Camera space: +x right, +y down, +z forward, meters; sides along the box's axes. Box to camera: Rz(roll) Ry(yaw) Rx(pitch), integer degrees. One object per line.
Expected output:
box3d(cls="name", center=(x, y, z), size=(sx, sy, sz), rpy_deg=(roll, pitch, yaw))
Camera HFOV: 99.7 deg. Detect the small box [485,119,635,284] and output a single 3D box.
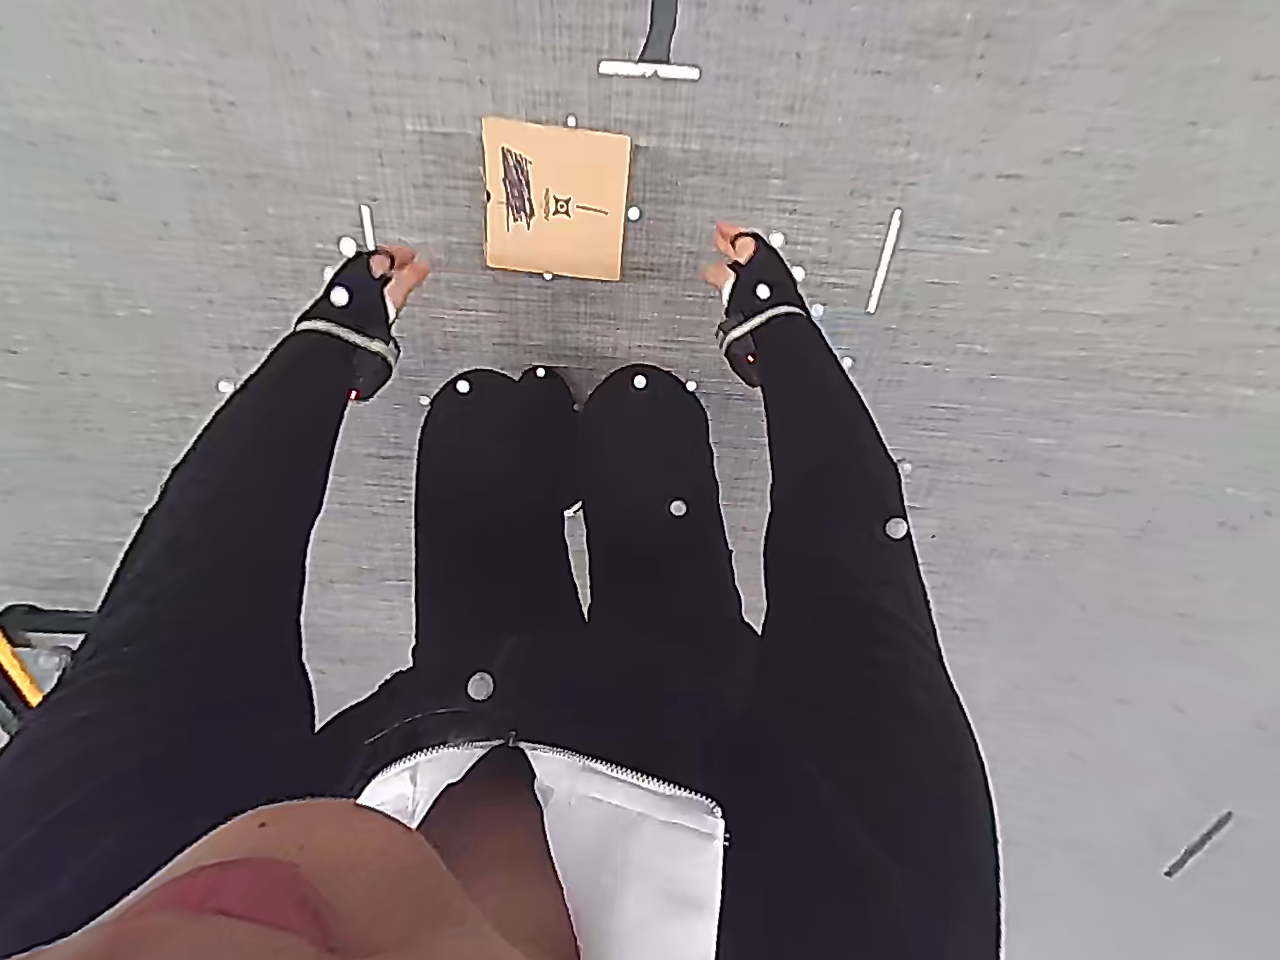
box3d(cls="small box", center=(-0.103, -0.376, 0.737), size=(0.179, 0.176, 0.168), rpy_deg=(6, 120, -3))
